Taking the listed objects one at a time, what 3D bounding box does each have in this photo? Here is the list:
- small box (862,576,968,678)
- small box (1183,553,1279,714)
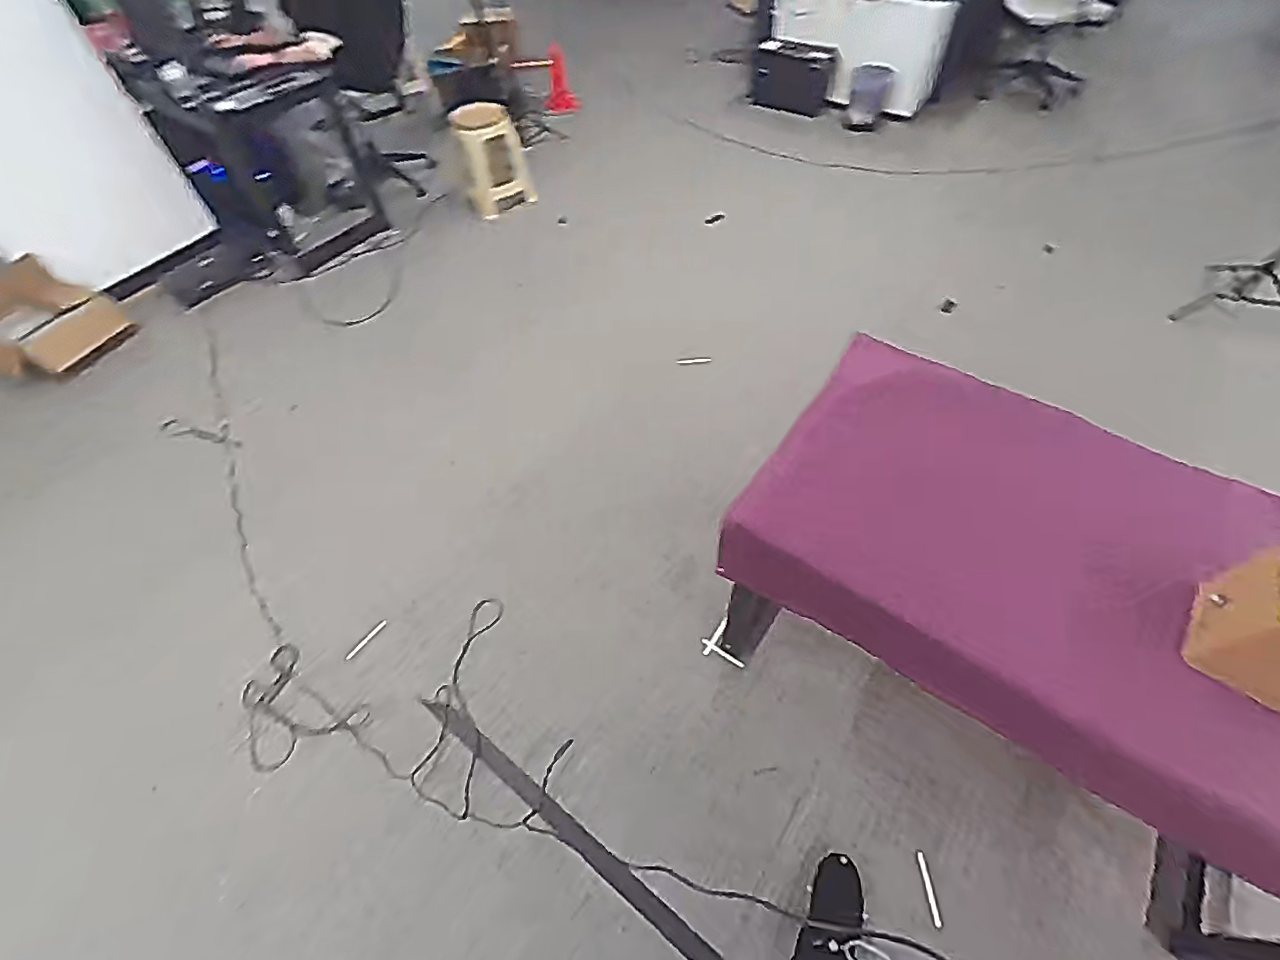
[{"bbox_3d":[0.706,0.388,1.405,0.179,0.176,0.168,28,60,19],"label":"small box"},{"bbox_3d":[0.937,0.222,0.755,0.179,0.176,0.168,32,62,24],"label":"small box"}]
